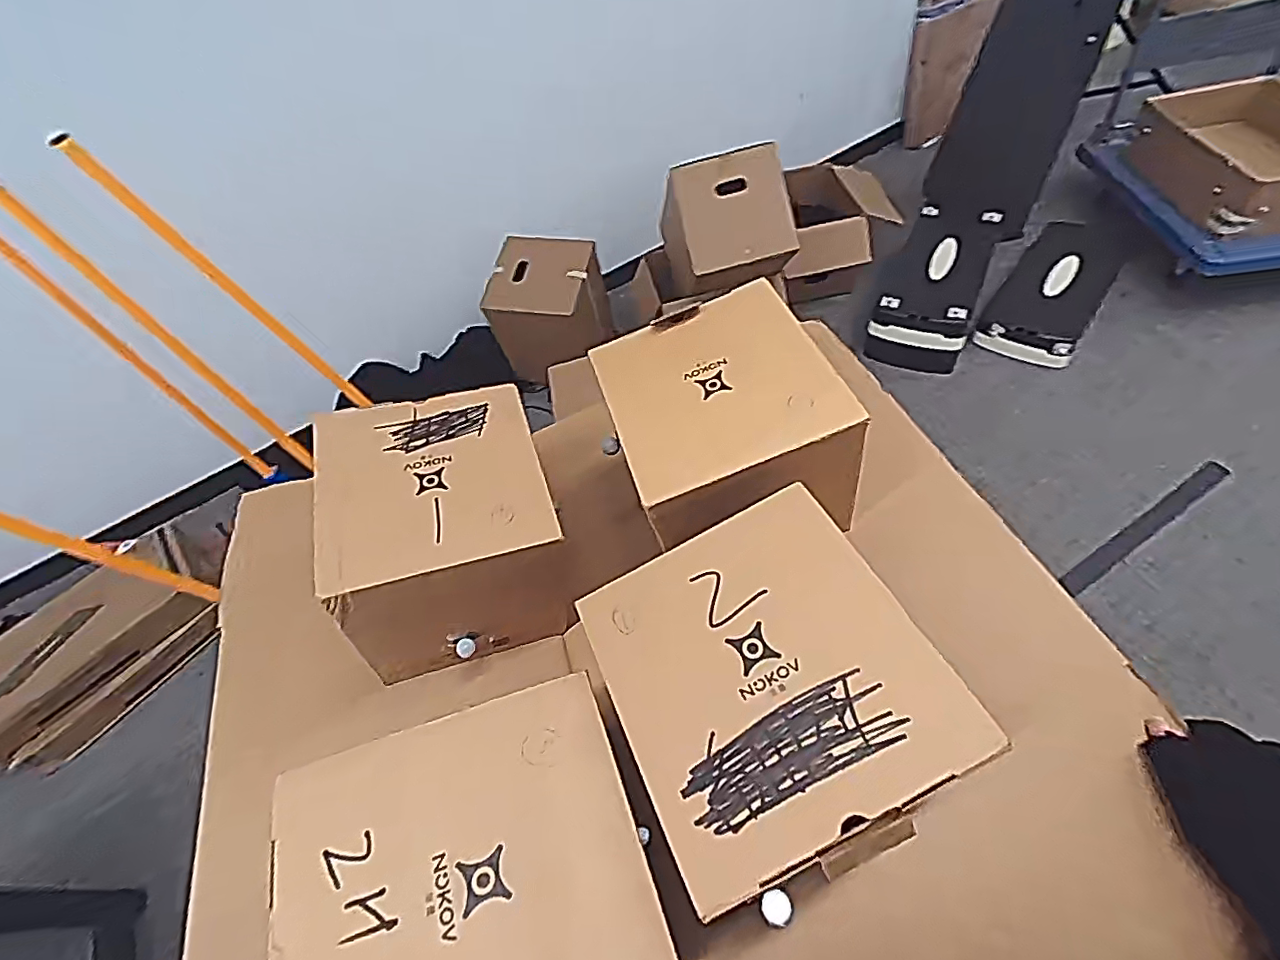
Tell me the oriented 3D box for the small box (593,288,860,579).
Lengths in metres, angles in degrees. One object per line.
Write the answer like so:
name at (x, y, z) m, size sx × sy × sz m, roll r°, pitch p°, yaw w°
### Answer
small box at (0.076, -0.029, 0.486) m, size 0.168 × 0.176 × 0.179 m, roll -22°, pitch 53°, yaw 2°
